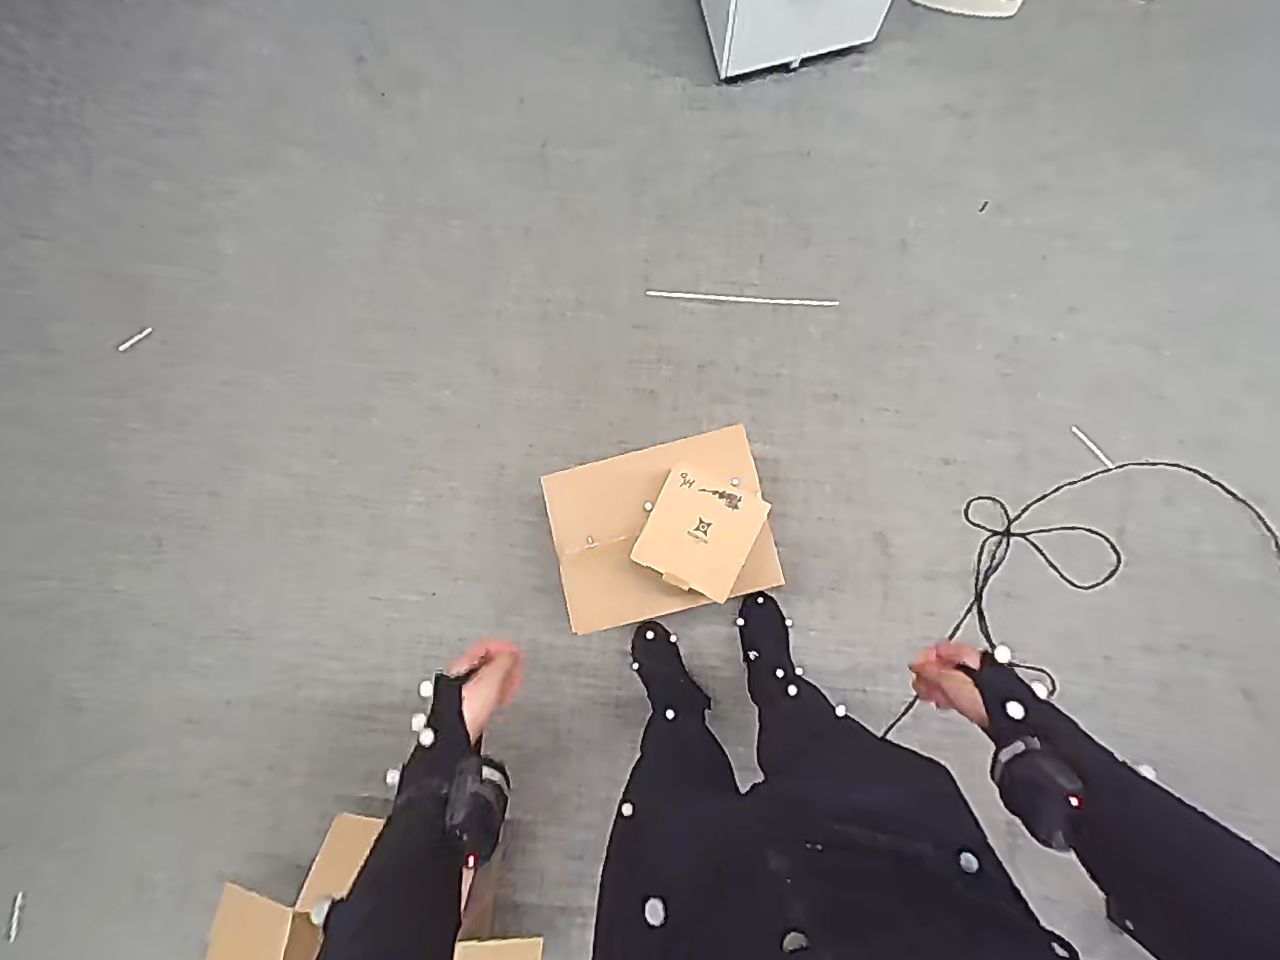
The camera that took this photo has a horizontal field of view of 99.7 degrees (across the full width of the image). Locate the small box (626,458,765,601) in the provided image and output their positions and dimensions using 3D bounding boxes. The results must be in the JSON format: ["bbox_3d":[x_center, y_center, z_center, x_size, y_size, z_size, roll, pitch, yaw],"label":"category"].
[{"bbox_3d":[0.093,0.081,0.927,0.168,0.176,0.179,26,89,4],"label":"small box"}]
